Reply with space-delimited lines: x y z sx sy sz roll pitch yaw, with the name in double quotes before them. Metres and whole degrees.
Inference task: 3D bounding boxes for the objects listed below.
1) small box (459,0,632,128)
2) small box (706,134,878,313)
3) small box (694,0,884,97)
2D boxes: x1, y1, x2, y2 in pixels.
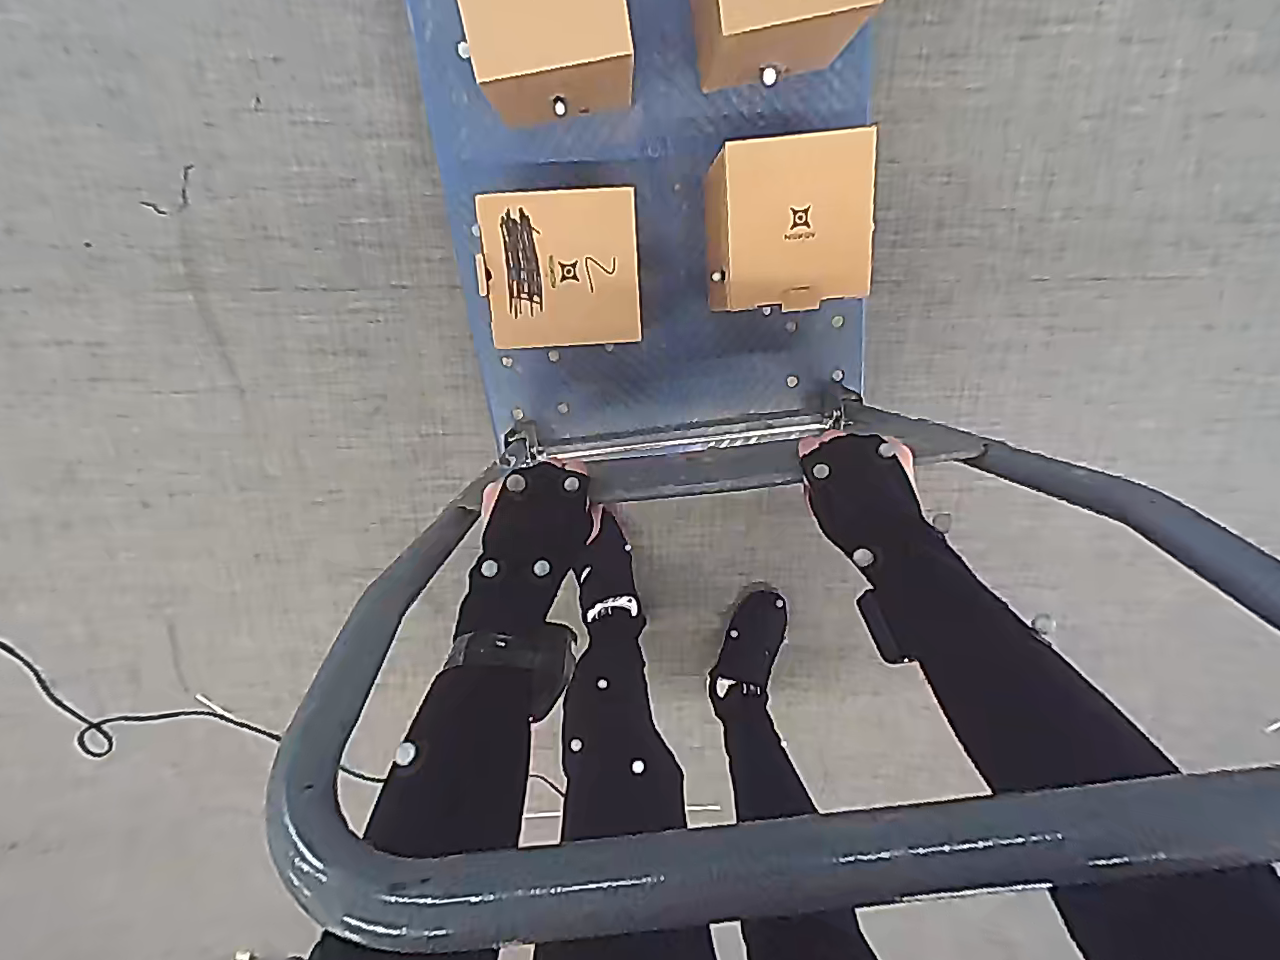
"small box" -0.101 -0.517 0.601 0.168 0.176 0.179 -9 108 1
"small box" 0.177 -0.306 0.679 0.168 0.176 0.179 -5 108 0
"small box" 0.149 -0.561 0.593 0.168 0.176 0.179 -9 109 2
